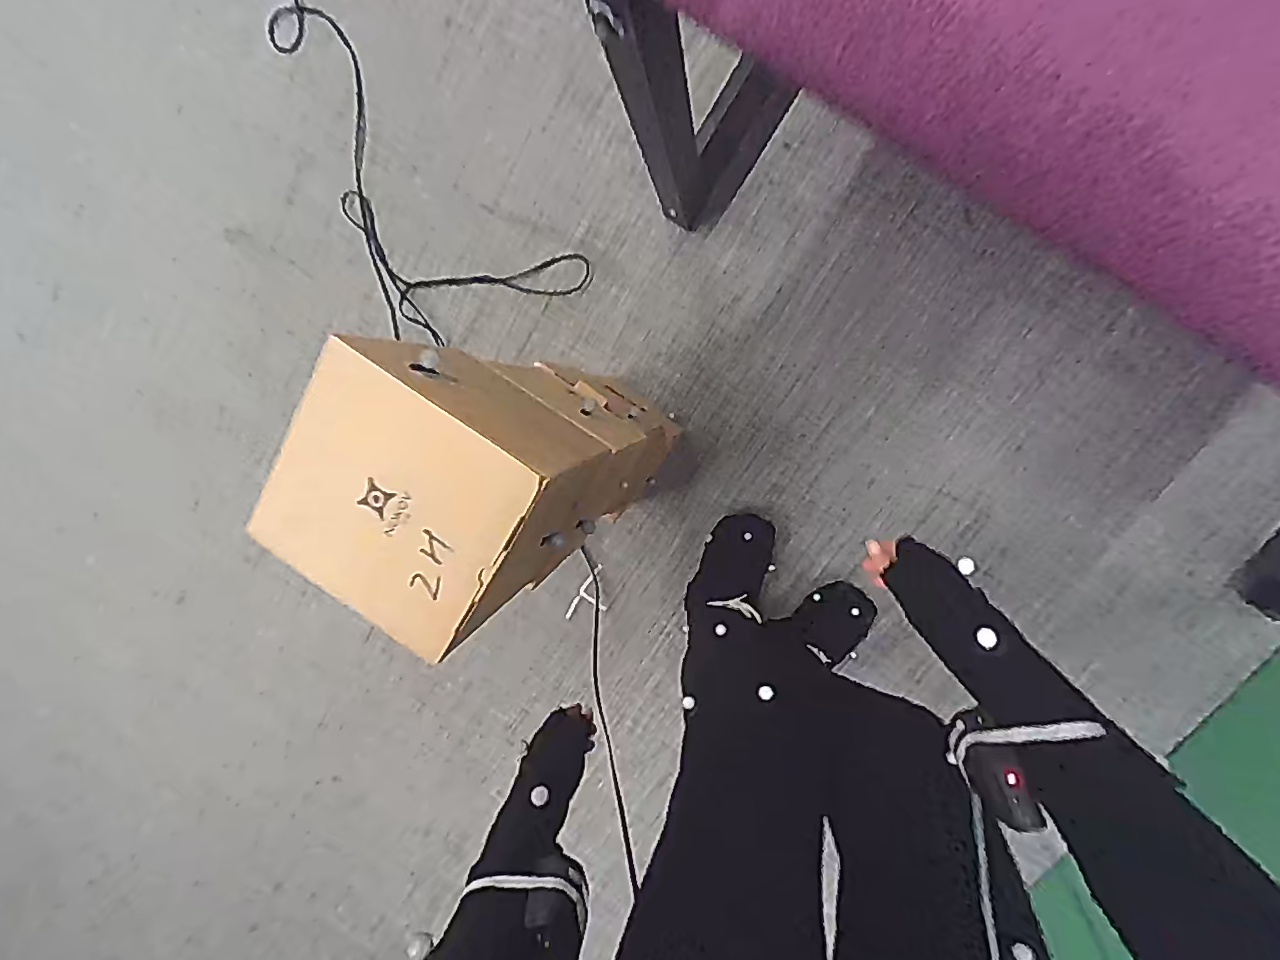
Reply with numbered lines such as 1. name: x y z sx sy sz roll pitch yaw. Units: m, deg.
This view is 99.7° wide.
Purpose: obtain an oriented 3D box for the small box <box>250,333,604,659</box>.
1. small box: -0.157 0.003 0.447 0.179 0.176 0.168 35 105 3

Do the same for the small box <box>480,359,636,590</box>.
1. small box: -0.118 -0.016 0.607 0.168 0.176 0.179 34 105 3
